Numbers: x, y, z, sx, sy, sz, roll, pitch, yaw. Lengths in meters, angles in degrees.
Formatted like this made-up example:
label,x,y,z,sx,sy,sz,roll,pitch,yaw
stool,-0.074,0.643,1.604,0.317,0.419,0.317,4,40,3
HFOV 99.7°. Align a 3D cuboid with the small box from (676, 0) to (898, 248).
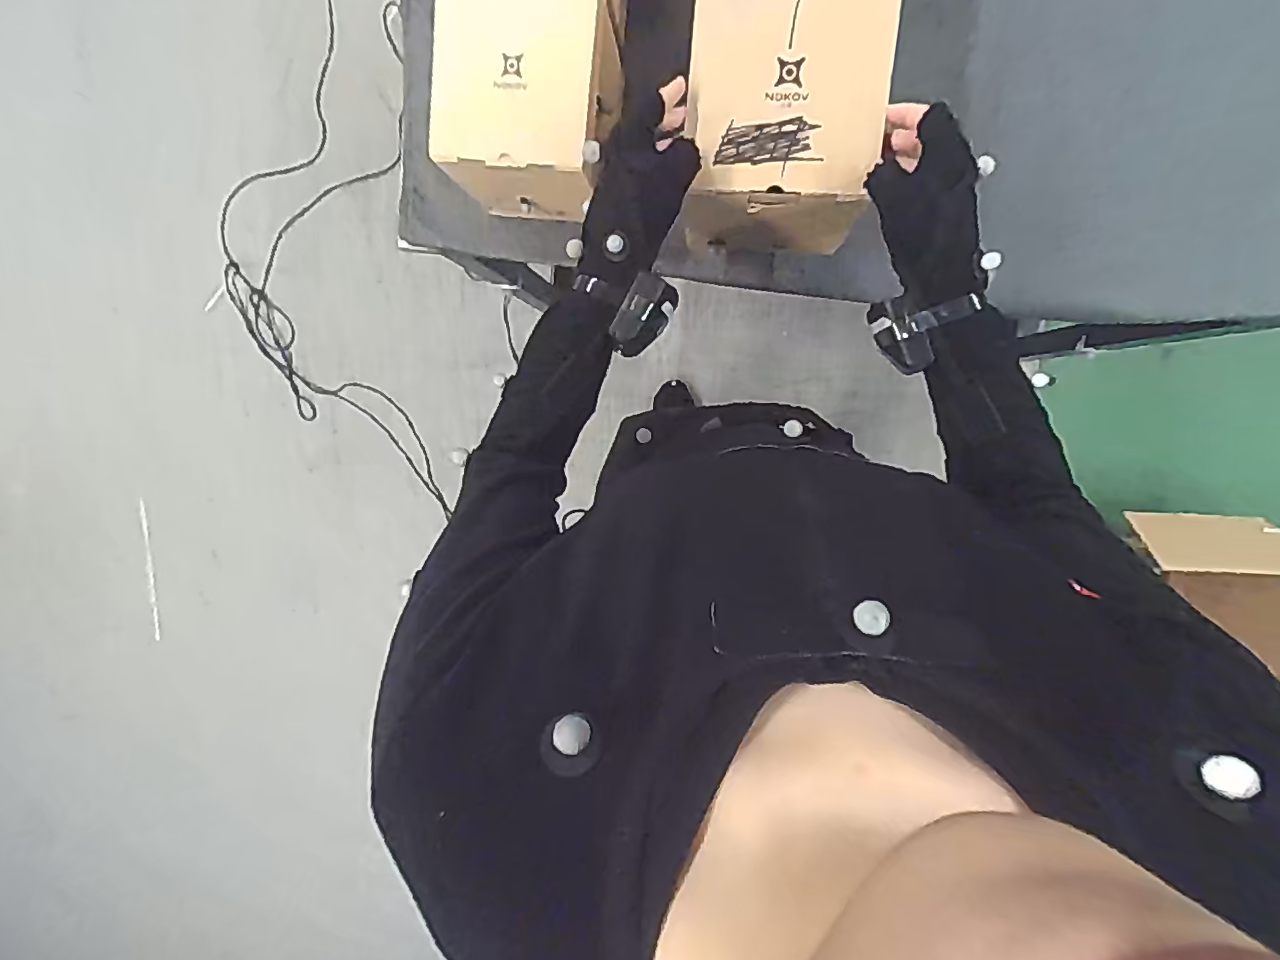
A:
label,x,y,z,sx,sy,sz,roll,pitch,yaw
small box,0.131,-0.340,0.527,0.168,0.176,0.179,6,98,7
